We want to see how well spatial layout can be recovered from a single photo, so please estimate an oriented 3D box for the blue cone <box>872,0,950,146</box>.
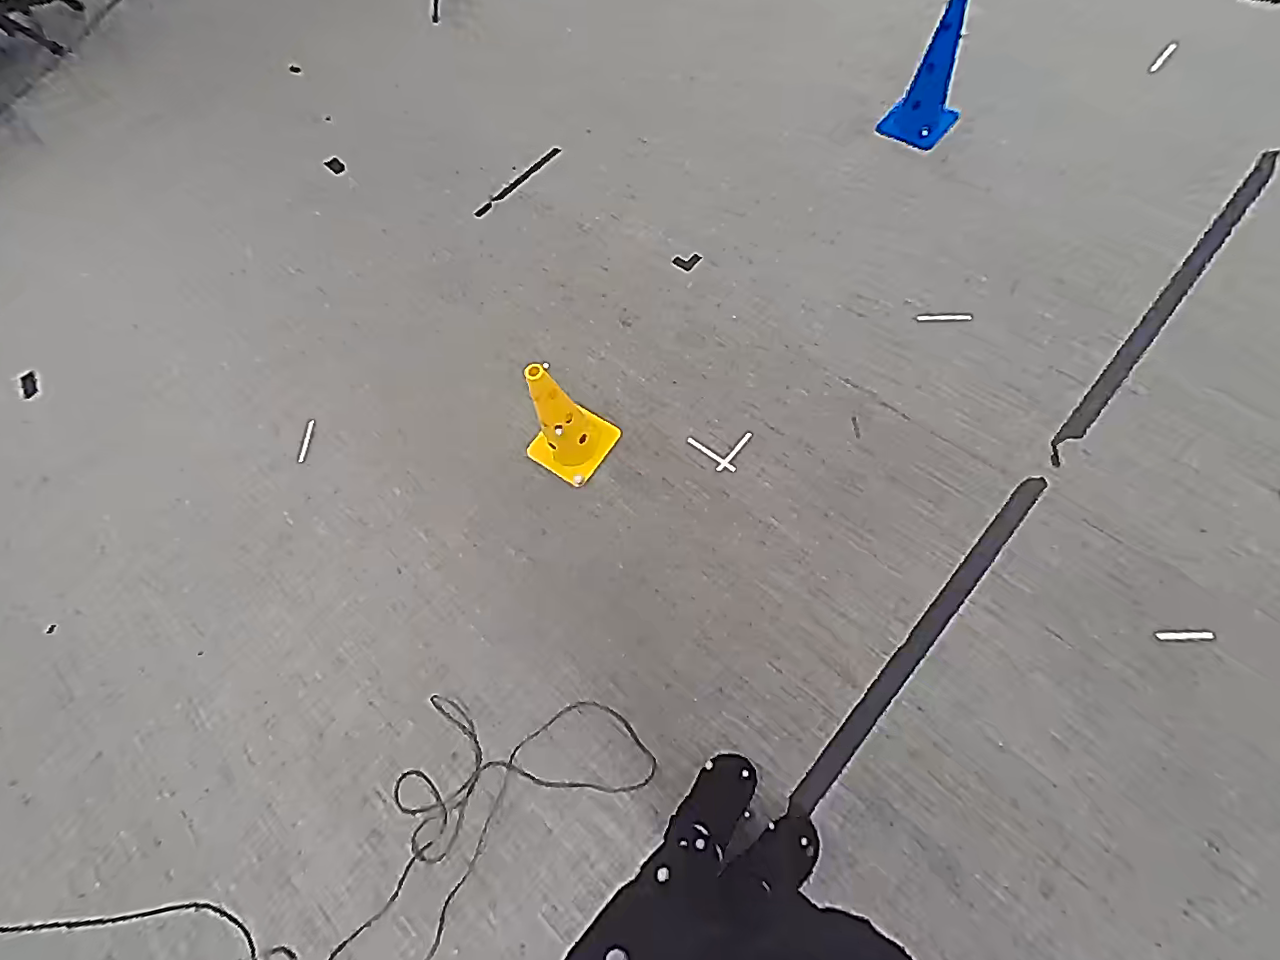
[{"bbox_3d":[0.859,-1.236,1.621,0.192,0.380,0.193,38,77,22],"label":"blue cone"}]
